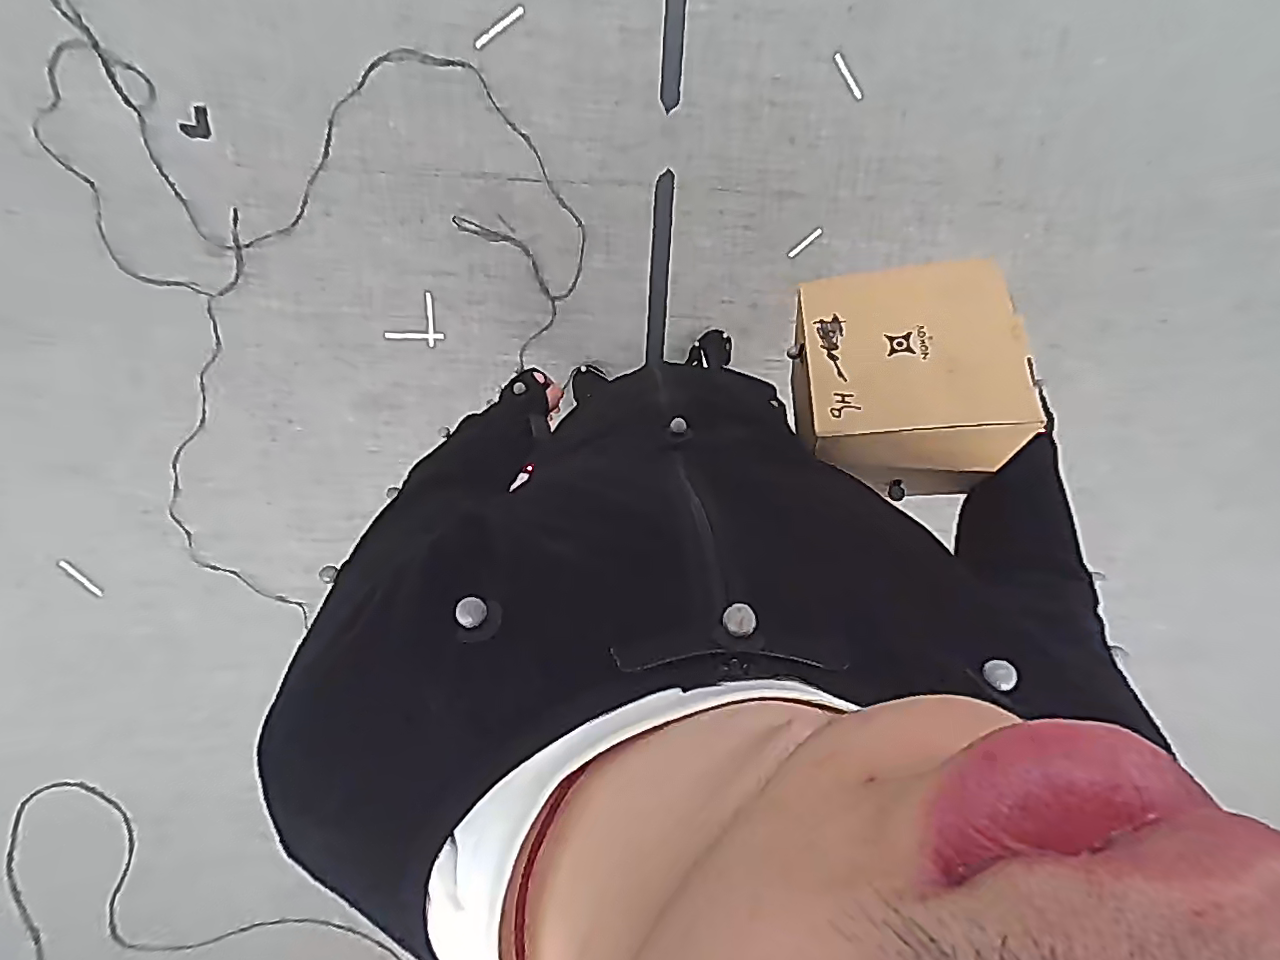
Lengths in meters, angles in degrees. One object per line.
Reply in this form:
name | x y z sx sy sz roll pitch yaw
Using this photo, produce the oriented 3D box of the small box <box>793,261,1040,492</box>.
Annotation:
small box | 0.258 -0.093 0.555 0.179 0.176 0.168 -3 68 11
